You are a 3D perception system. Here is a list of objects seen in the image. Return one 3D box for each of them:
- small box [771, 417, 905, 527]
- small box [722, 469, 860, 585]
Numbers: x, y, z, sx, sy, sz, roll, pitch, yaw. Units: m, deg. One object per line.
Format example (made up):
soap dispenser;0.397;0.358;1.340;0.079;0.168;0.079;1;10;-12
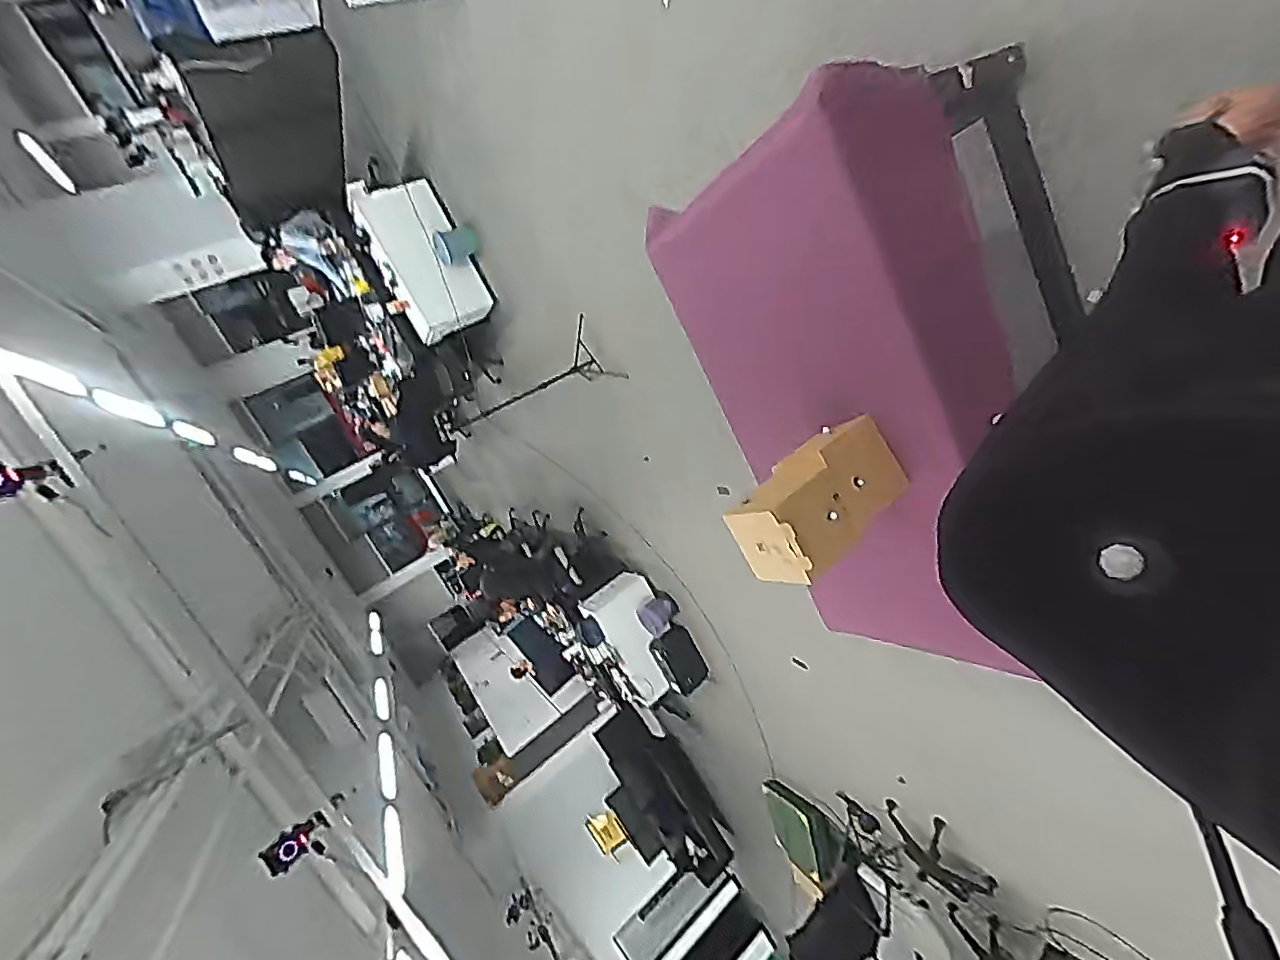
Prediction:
small box;0.426;-0.008;1.162;0.179;0.176;0.168;58;156;-2
small box;0.307;0.093;1.105;0.168;0.176;0.179;59;156;-7
